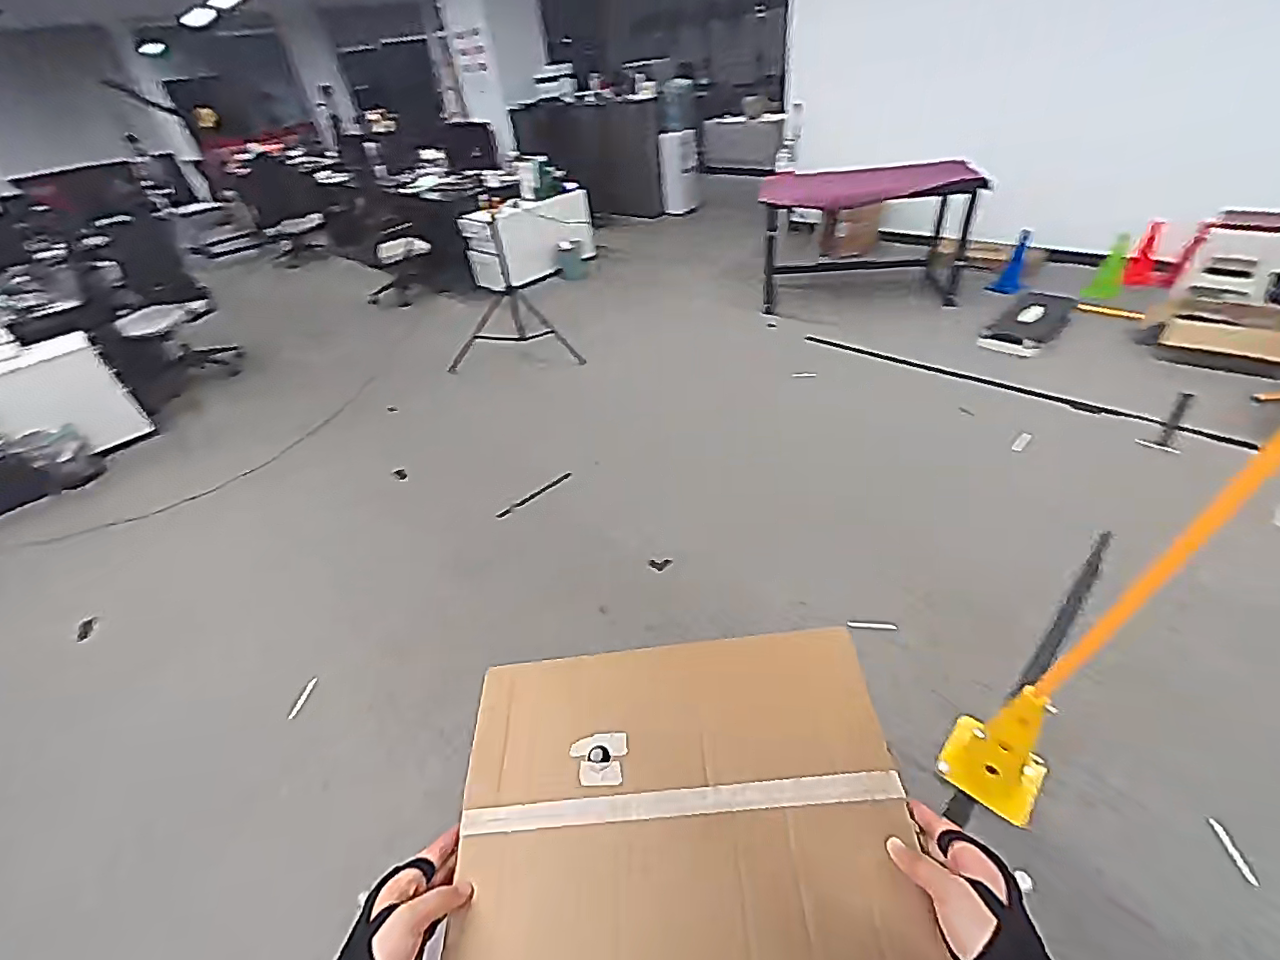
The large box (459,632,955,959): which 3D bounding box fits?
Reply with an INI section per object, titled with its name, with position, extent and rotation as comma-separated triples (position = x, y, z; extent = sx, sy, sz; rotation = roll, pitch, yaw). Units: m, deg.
[large box]
position = 0.066, 0.408, 0.611
extent = 0.408, 0.320, 0.320
rotation = -9, 45, 7
